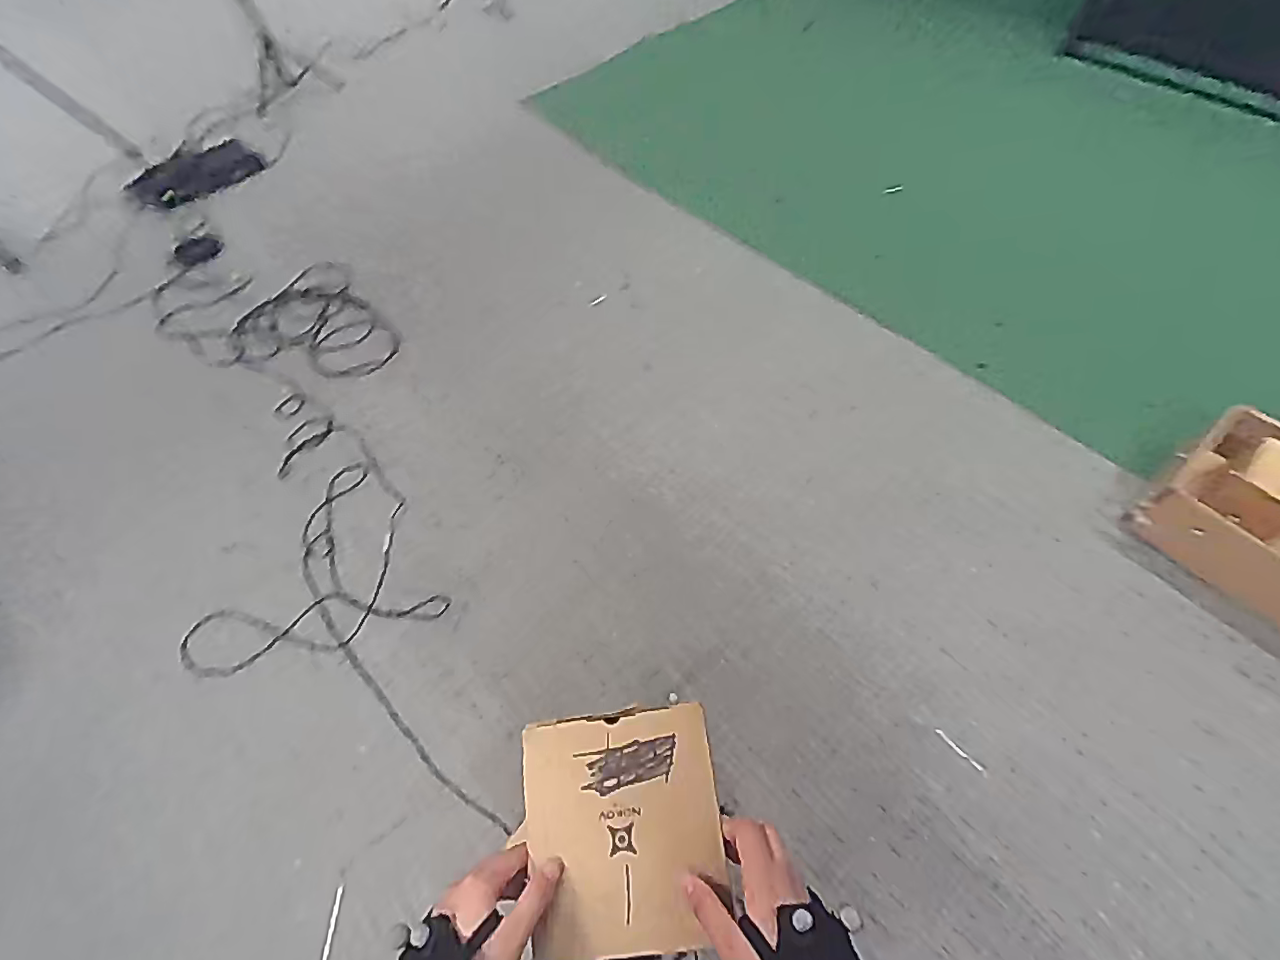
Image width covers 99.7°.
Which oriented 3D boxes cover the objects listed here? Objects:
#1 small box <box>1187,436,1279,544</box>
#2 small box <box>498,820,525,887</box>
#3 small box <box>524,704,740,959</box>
[{"bbox_3d":[1.559,0.029,1.366,0.168,0.176,0.179,40,70,21],"label":"small box"},{"bbox_3d":[-0.150,0.741,1.091,0.179,0.176,0.168,33,66,21],"label":"small box"},{"bbox_3d":[-0.005,0.316,0.511,0.168,0.176,0.179,-8,66,4],"label":"small box"}]
